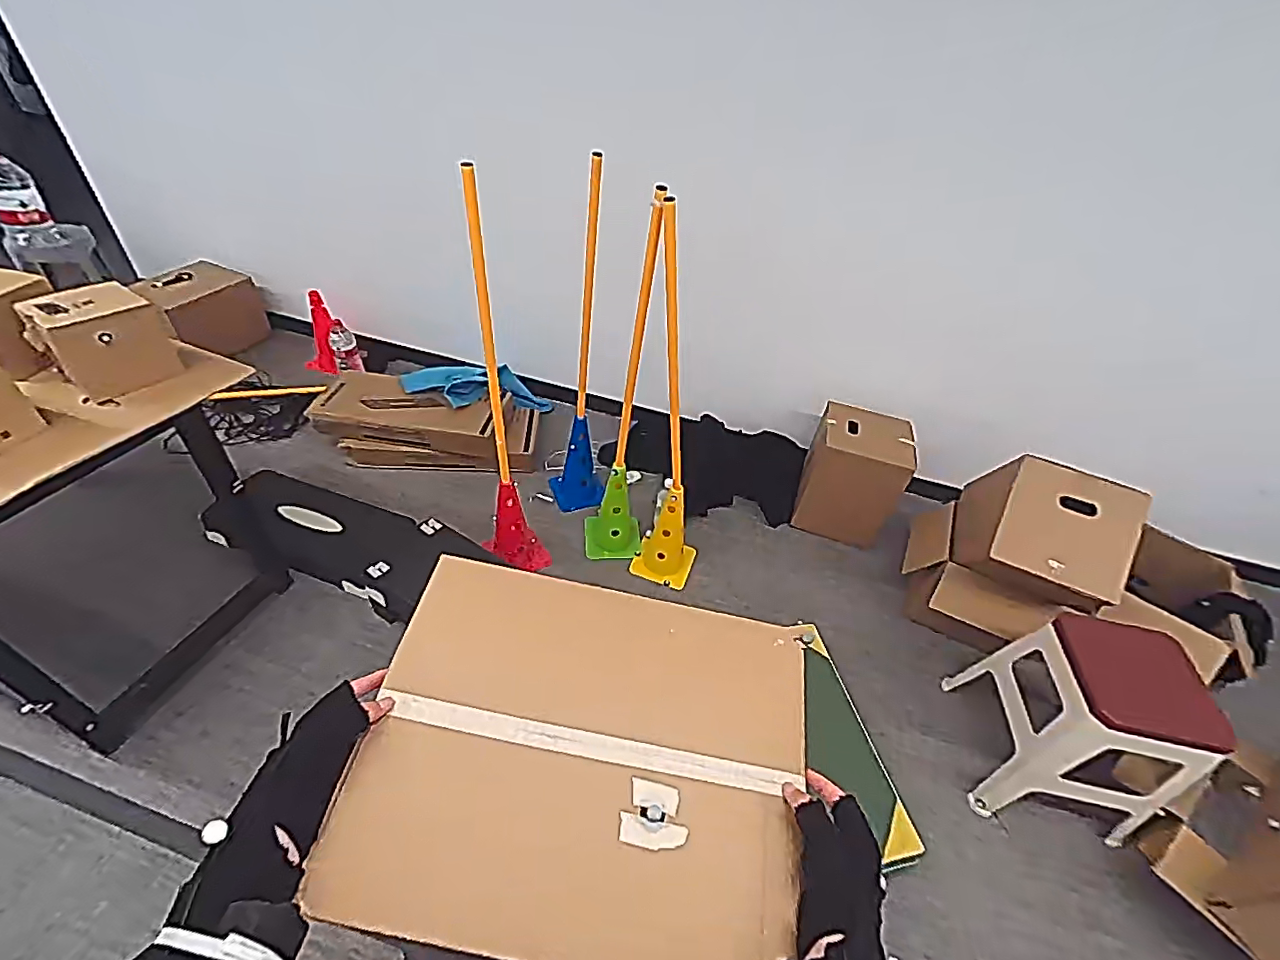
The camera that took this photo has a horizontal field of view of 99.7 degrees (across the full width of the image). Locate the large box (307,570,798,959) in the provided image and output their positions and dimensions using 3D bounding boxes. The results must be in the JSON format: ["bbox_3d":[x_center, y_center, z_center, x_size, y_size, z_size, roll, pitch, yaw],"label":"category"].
[{"bbox_3d":[-0.067,0.344,0.631,0.408,0.320,0.320,12,53,0],"label":"large box"}]
